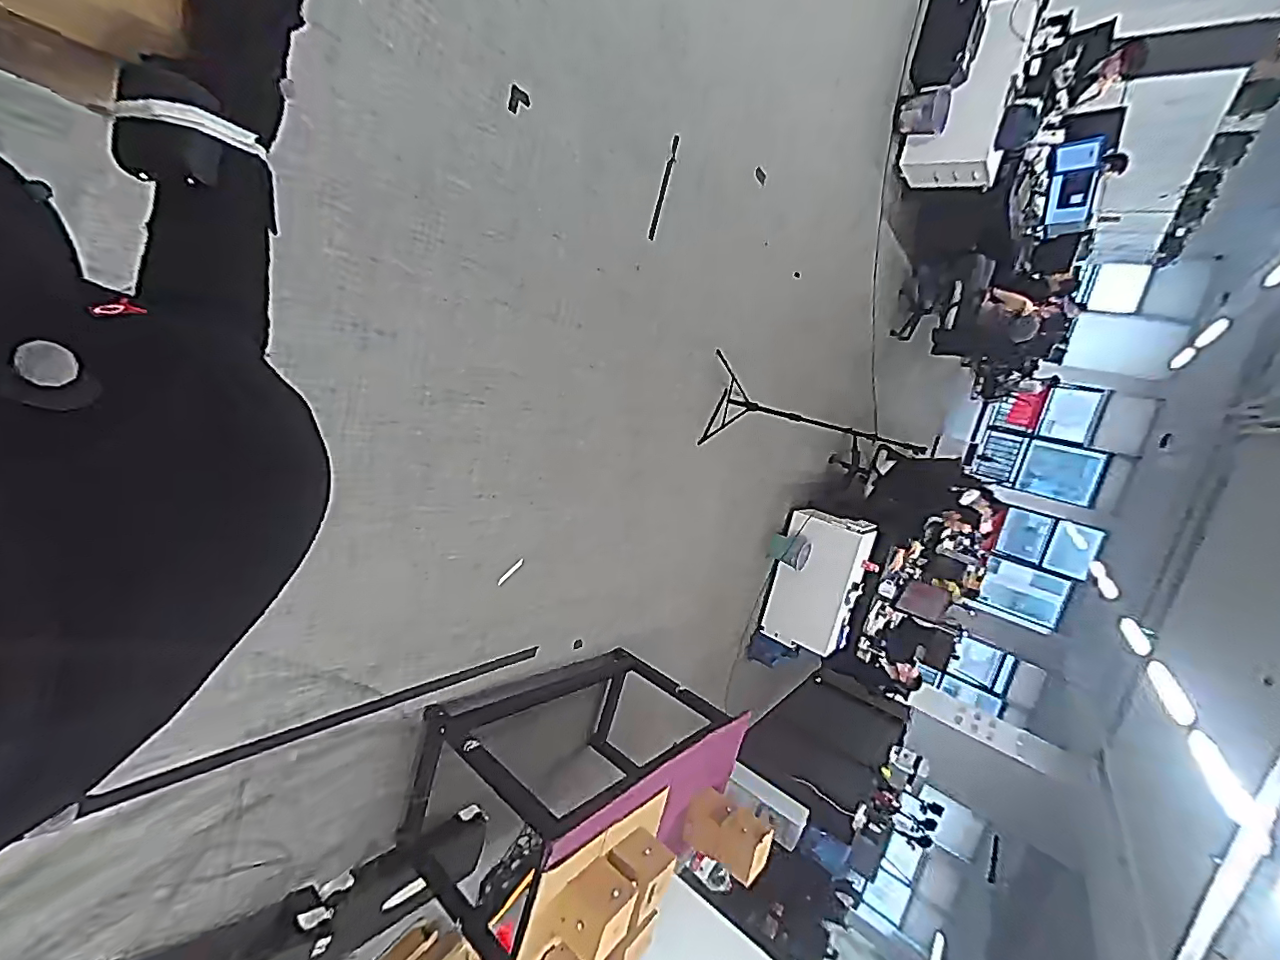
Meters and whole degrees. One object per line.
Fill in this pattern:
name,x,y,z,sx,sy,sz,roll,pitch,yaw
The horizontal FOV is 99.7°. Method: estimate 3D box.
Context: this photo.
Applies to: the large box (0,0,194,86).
large box,-0.514,-0.480,0.273,0.408,0.320,0.320,-1,112,-56
